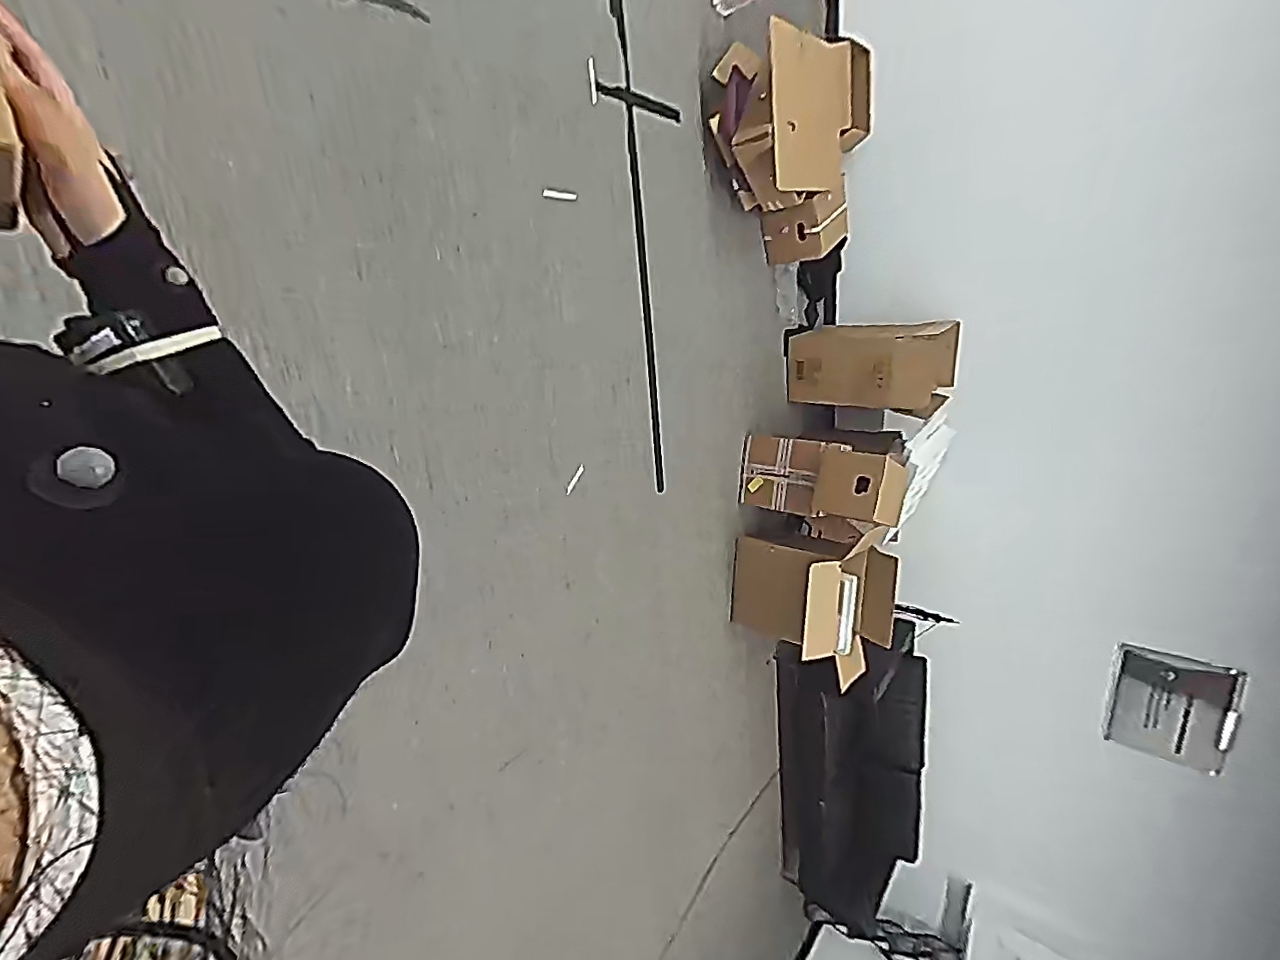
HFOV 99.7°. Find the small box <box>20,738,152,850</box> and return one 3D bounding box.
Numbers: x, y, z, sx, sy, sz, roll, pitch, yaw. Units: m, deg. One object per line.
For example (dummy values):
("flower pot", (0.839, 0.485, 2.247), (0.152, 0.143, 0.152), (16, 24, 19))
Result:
("small box", (-1.100, 0.663, 1.089), (0.179, 0.176, 0.168), (-17, 109, -49))

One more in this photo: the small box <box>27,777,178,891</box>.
("small box", (-0.971, 0.688, 0.989), (0.179, 0.176, 0.168), (-13, 106, -50))

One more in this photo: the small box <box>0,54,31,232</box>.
("small box", (-0.430, -0.231, 0.247), (0.168, 0.176, 0.179), (-20, 108, -48))

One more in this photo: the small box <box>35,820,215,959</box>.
("small box", (-0.845, 0.713, 0.891), (0.179, 0.176, 0.168), (-17, 108, -48))
